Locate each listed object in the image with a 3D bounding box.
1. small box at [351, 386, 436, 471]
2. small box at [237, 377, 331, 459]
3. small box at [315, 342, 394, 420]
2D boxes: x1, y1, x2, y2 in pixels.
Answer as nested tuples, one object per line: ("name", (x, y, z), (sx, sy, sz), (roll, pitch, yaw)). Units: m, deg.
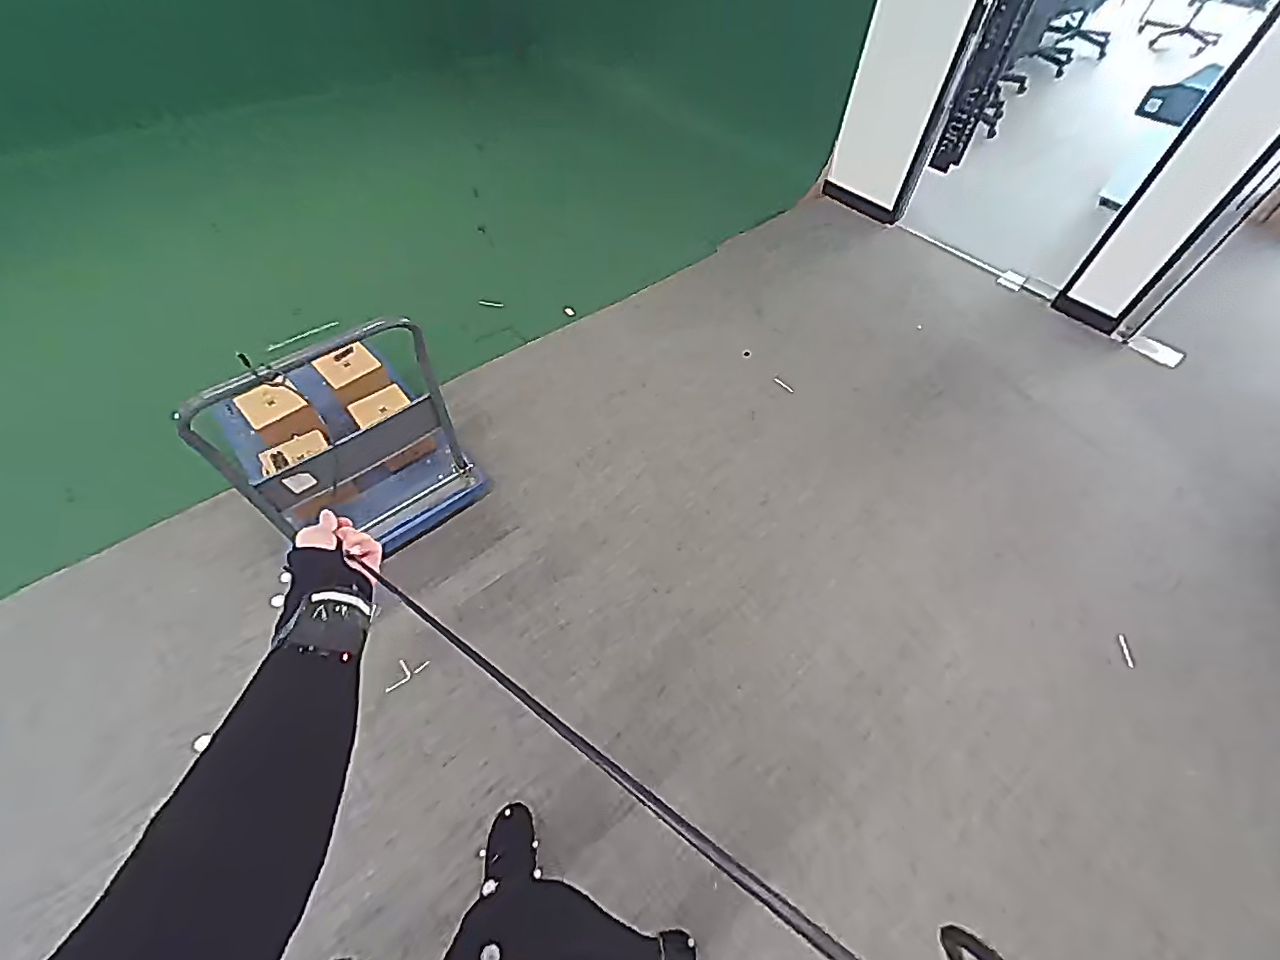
("small box", (-0.788, -0.164, 1.739), (0.168, 0.176, 0.179), (-33, 63, -23))
("small box", (-1.143, -0.192, 1.749), (0.168, 0.176, 0.179), (-38, 63, -25))
("small box", (-0.964, -0.334, 1.854), (0.168, 0.176, 0.179), (-38, 65, -24))
